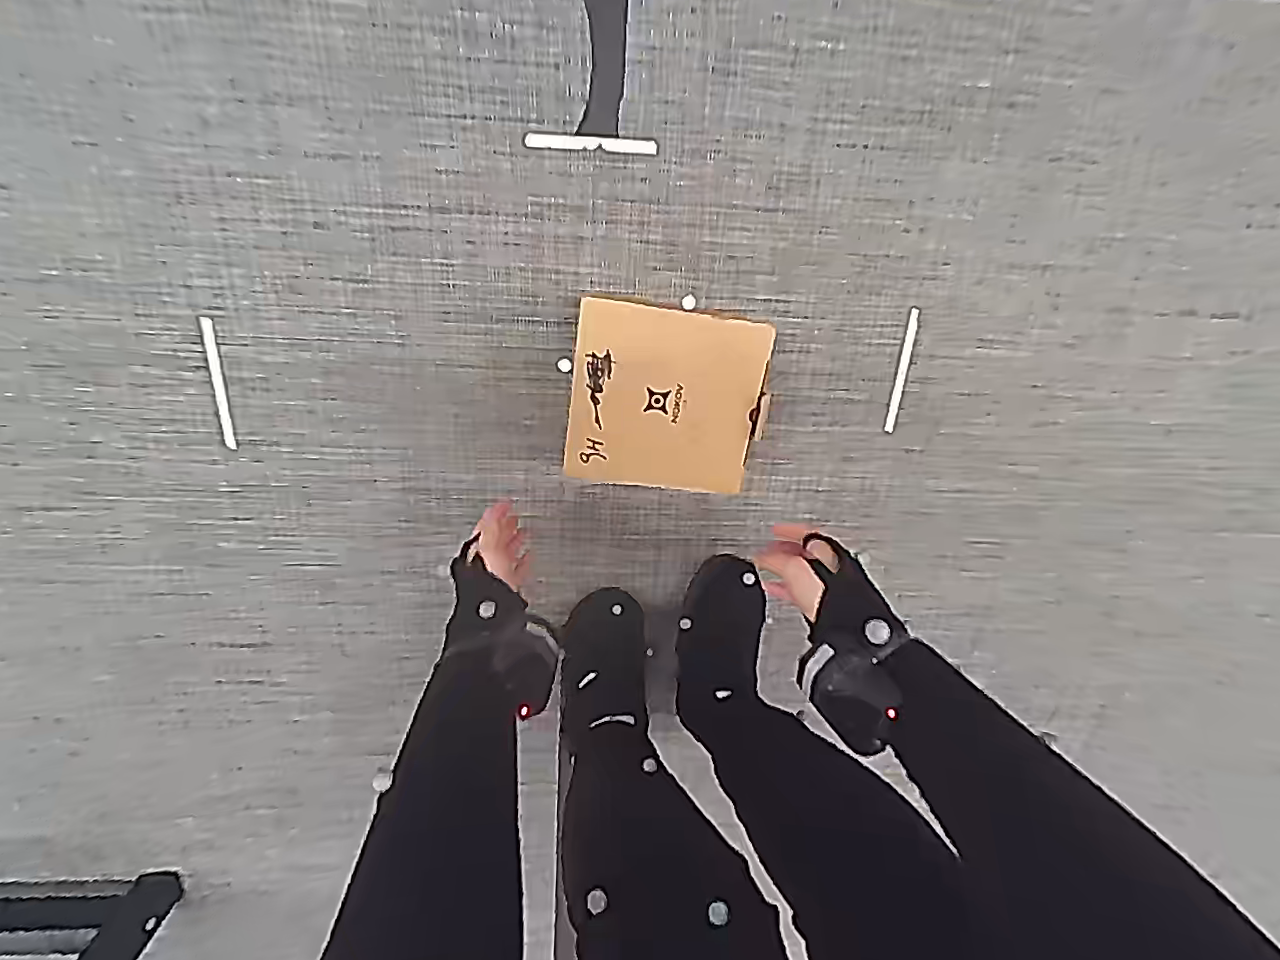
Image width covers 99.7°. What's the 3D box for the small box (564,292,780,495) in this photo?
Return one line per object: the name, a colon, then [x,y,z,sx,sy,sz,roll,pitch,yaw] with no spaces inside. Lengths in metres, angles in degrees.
small box: [0.019,-0.097,0.562,0.179,0.176,0.168,7,110,-8]
